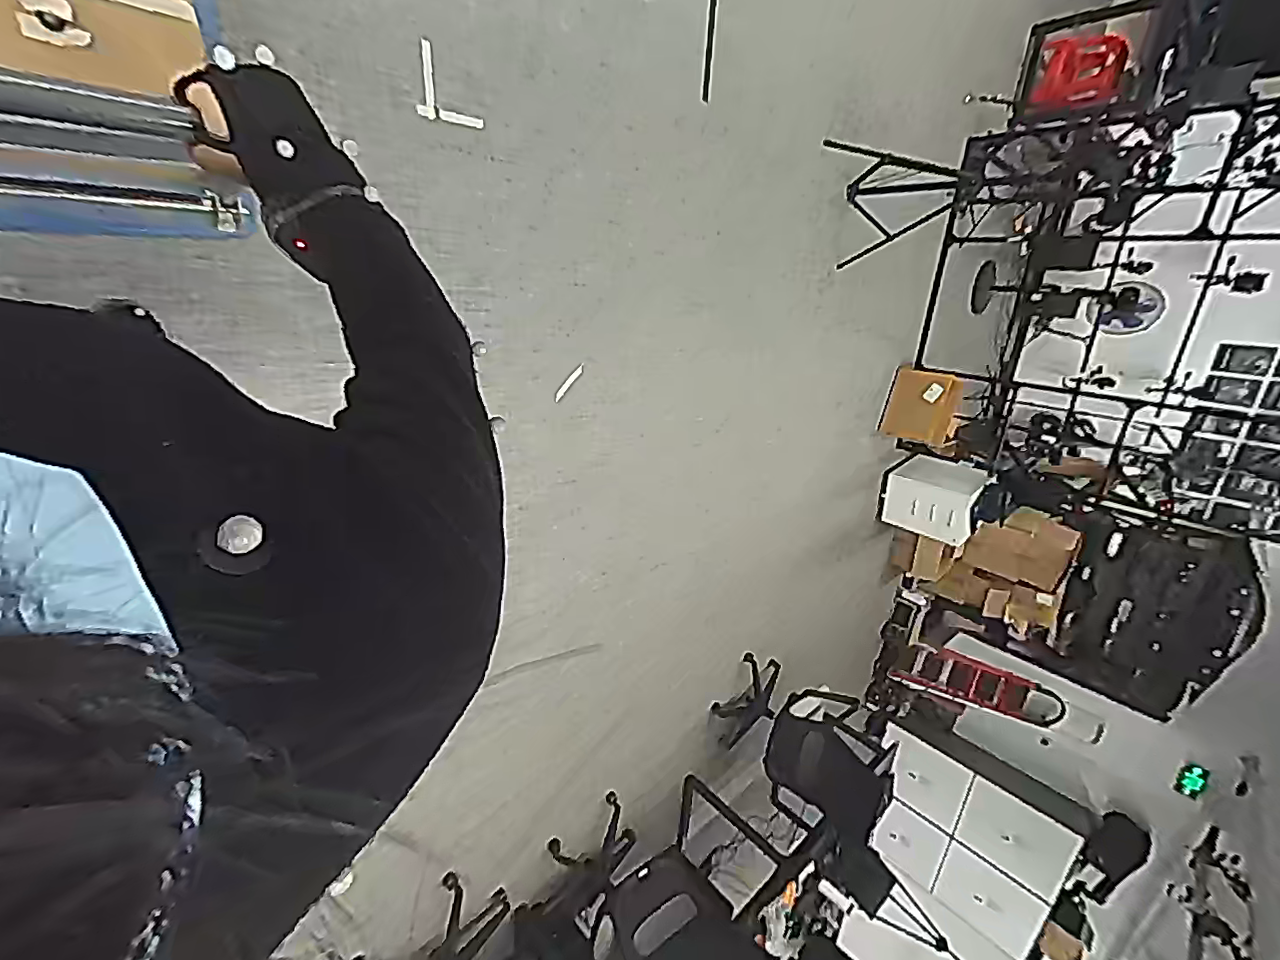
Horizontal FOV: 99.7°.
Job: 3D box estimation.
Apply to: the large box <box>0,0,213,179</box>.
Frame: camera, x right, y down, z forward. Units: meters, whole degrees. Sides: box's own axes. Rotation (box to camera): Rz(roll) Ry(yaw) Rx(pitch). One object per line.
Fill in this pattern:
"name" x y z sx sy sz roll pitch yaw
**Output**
"large box" -0.824 -0.580 0.654 0.408 0.320 0.320 -17 117 -42
